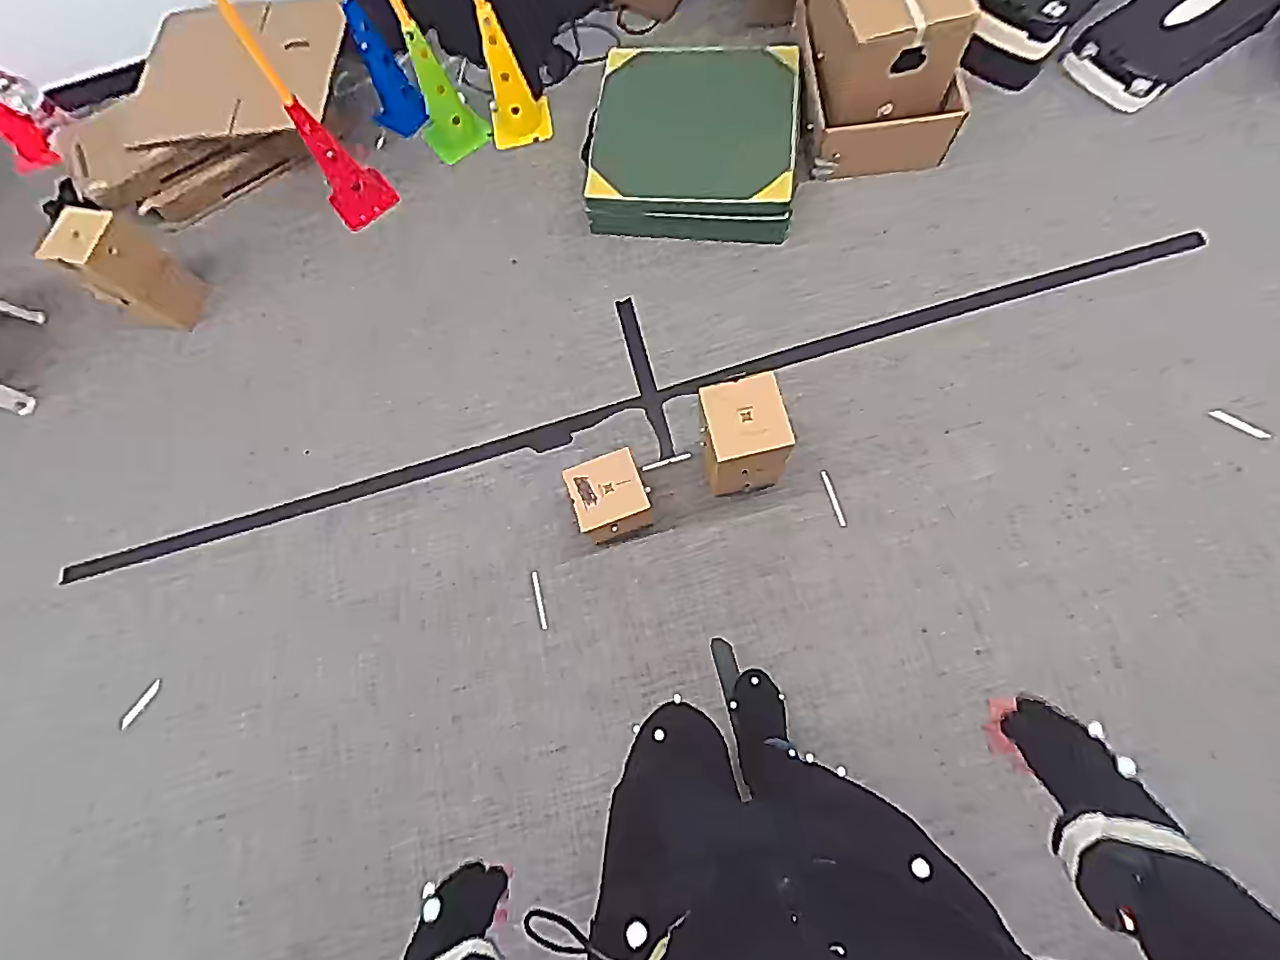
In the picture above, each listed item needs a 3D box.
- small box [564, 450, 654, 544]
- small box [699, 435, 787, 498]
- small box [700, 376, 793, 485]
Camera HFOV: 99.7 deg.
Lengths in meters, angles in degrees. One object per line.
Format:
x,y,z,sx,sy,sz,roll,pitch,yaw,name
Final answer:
-0.073,0.051,1.374,0.179,0.176,0.168,-20,72,-1,small box
0.254,-0.065,1.378,0.179,0.176,0.168,-12,72,1,small box
0.231,-0.106,1.222,0.168,0.176,0.179,-13,73,3,small box
